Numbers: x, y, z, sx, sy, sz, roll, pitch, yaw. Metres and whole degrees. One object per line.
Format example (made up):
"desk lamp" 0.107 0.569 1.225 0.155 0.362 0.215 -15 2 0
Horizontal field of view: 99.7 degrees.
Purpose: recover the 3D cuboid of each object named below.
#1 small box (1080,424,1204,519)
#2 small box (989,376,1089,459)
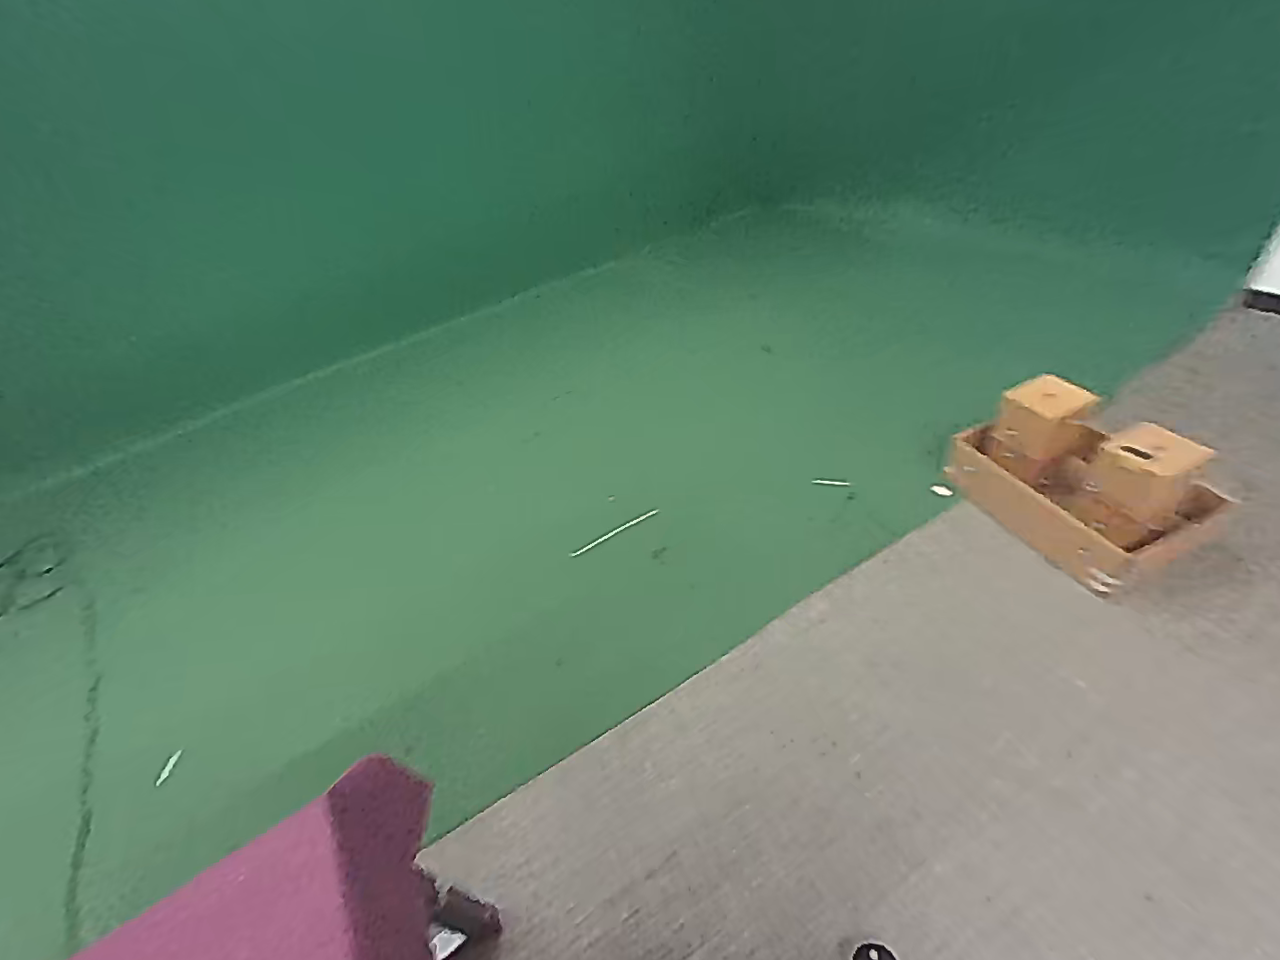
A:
"small box" 1.371 -0.020 1.495 0.179 0.176 0.168 -23 42 -11
"small box" 1.259 -0.197 1.721 0.179 0.176 0.168 -24 44 -9
